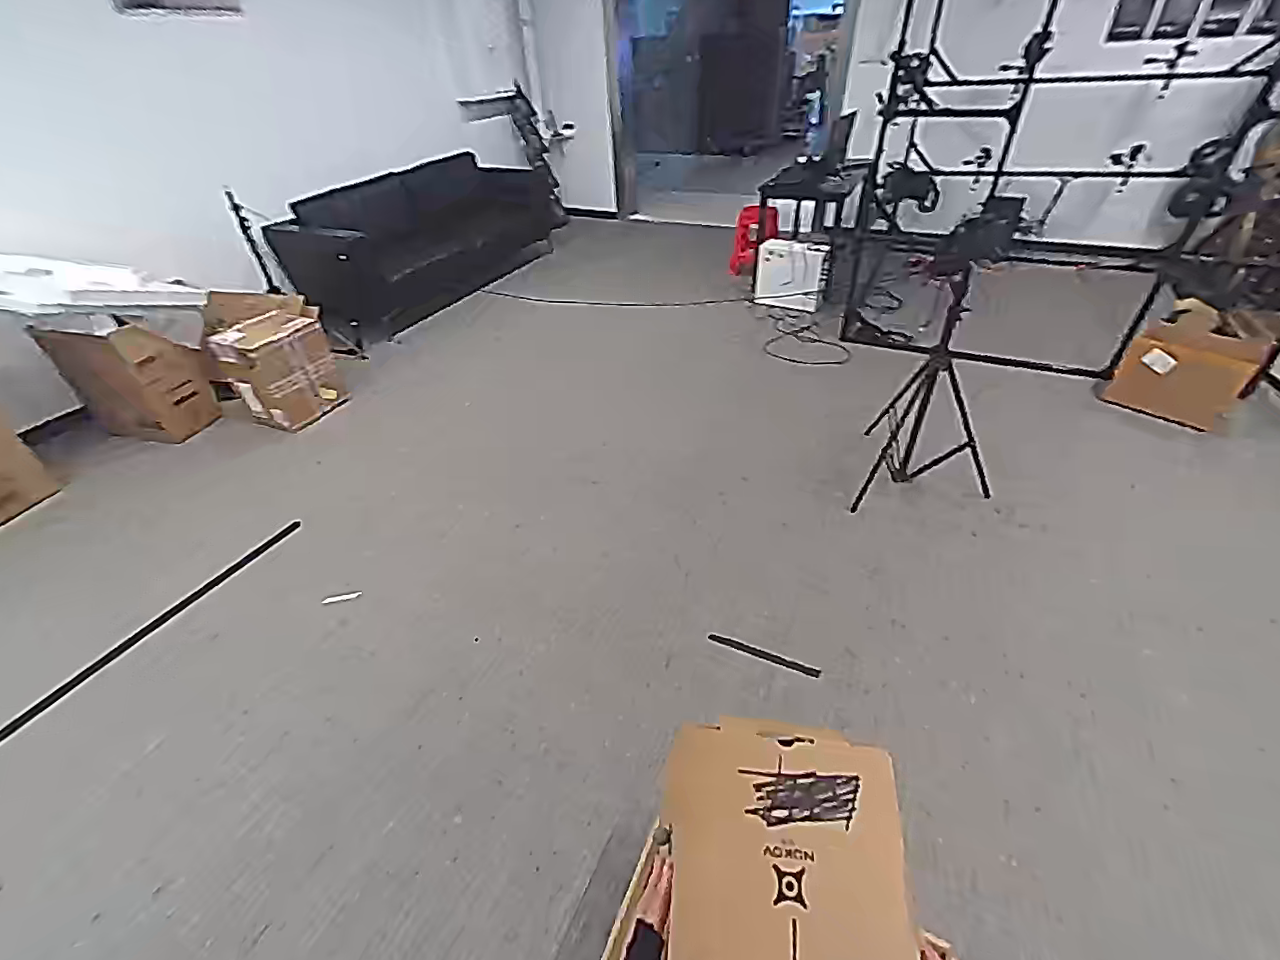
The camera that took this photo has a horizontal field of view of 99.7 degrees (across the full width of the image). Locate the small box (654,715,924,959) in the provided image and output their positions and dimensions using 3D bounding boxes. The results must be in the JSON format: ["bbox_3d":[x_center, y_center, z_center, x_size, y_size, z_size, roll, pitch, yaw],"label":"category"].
[{"bbox_3d":[0.102,0.312,0.440,0.168,0.176,0.179,6,54,2],"label":"small box"}]
